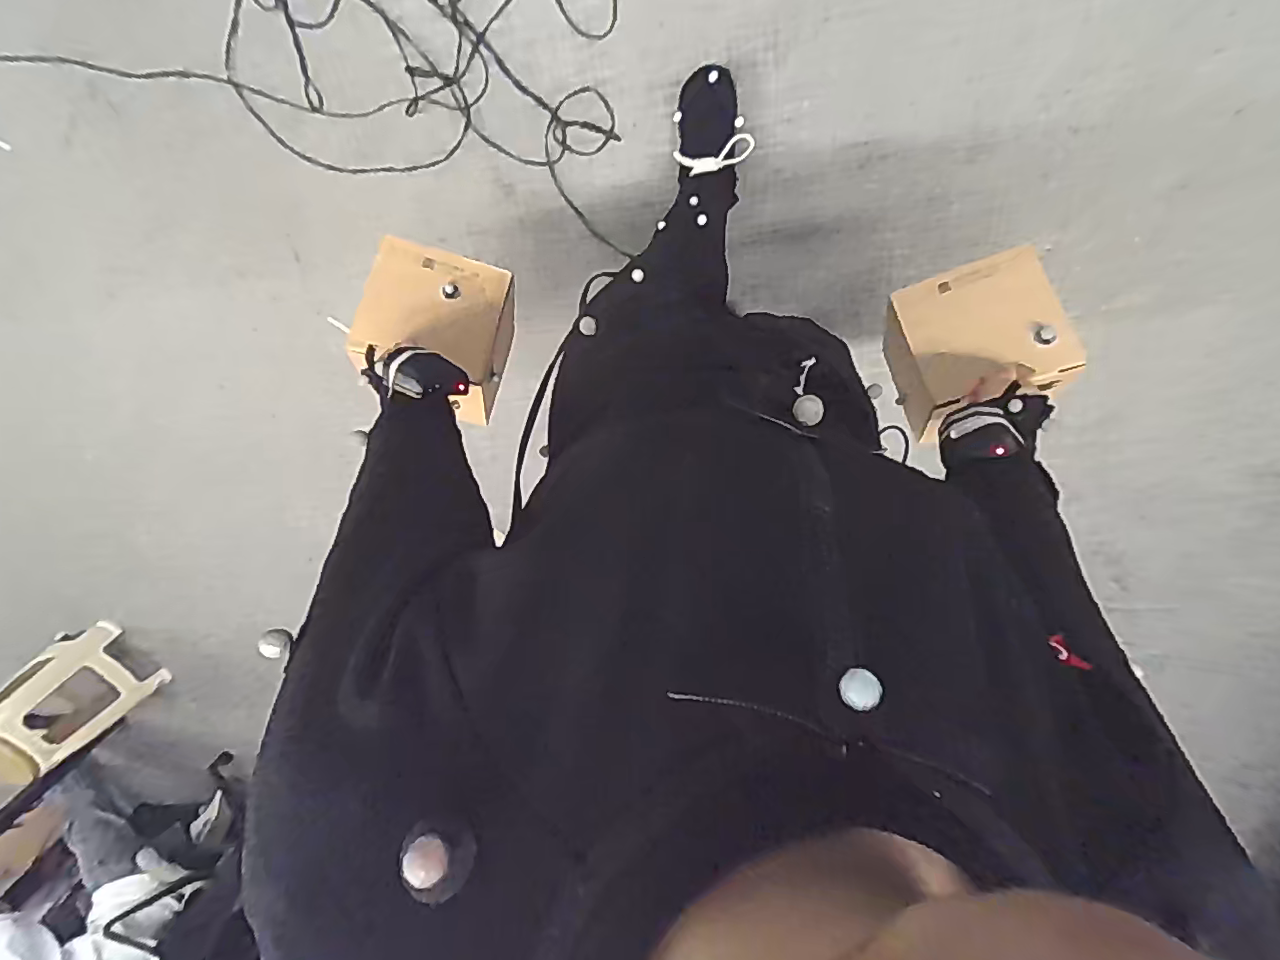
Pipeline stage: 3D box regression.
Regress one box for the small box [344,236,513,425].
[{"bbox_3d":[-0.280,-0.199,0.759,0.168,0.176,0.179,14,164,-10],"label":"small box"}]
